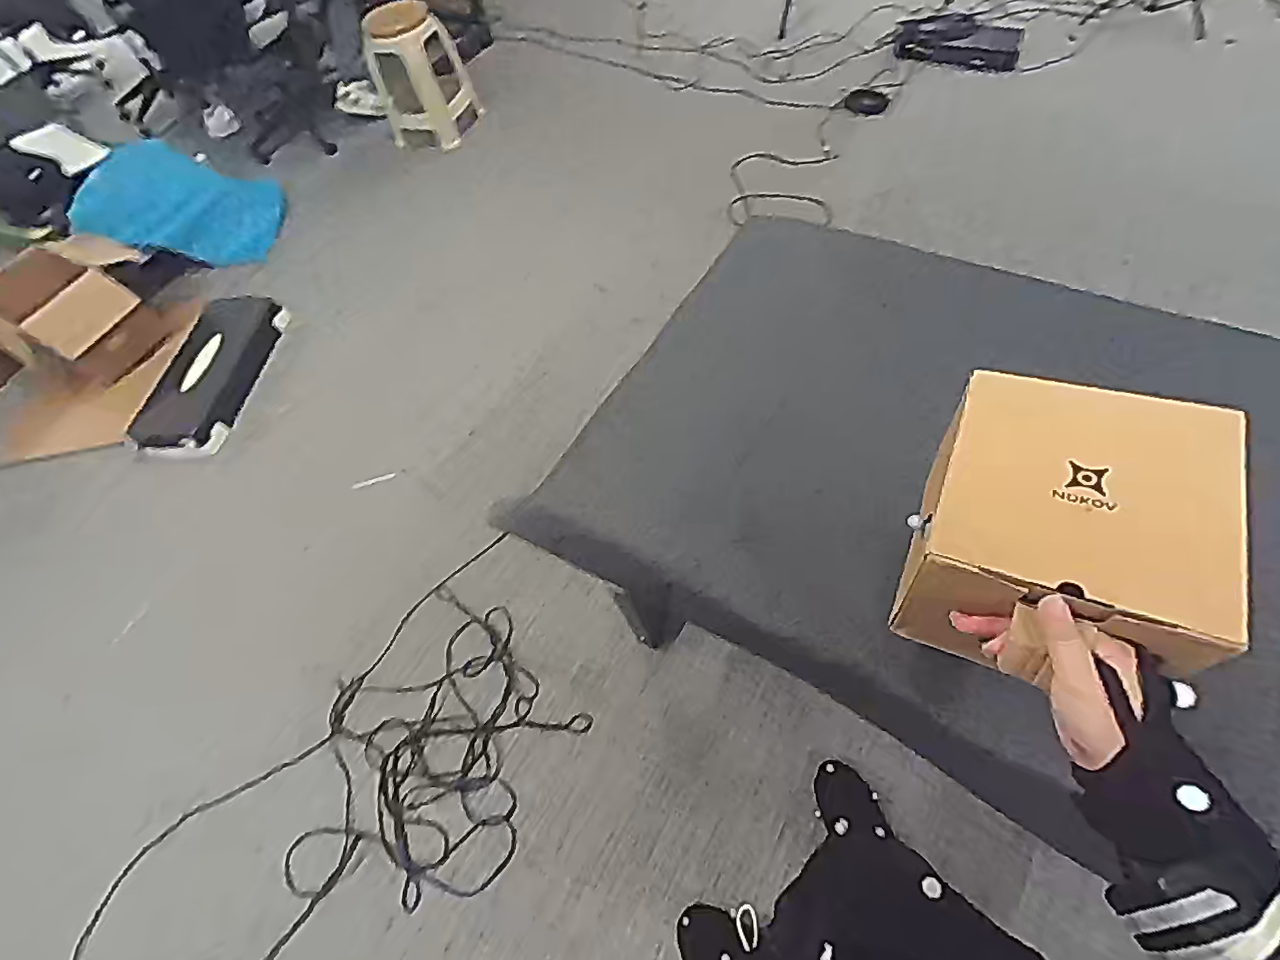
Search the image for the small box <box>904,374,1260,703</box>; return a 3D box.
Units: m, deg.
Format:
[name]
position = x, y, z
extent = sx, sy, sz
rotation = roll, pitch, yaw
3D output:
[small box]
position = 0.328, 0.049, 0.433
extent = 0.168, 0.176, 0.179
rotation = 18, 64, 24
